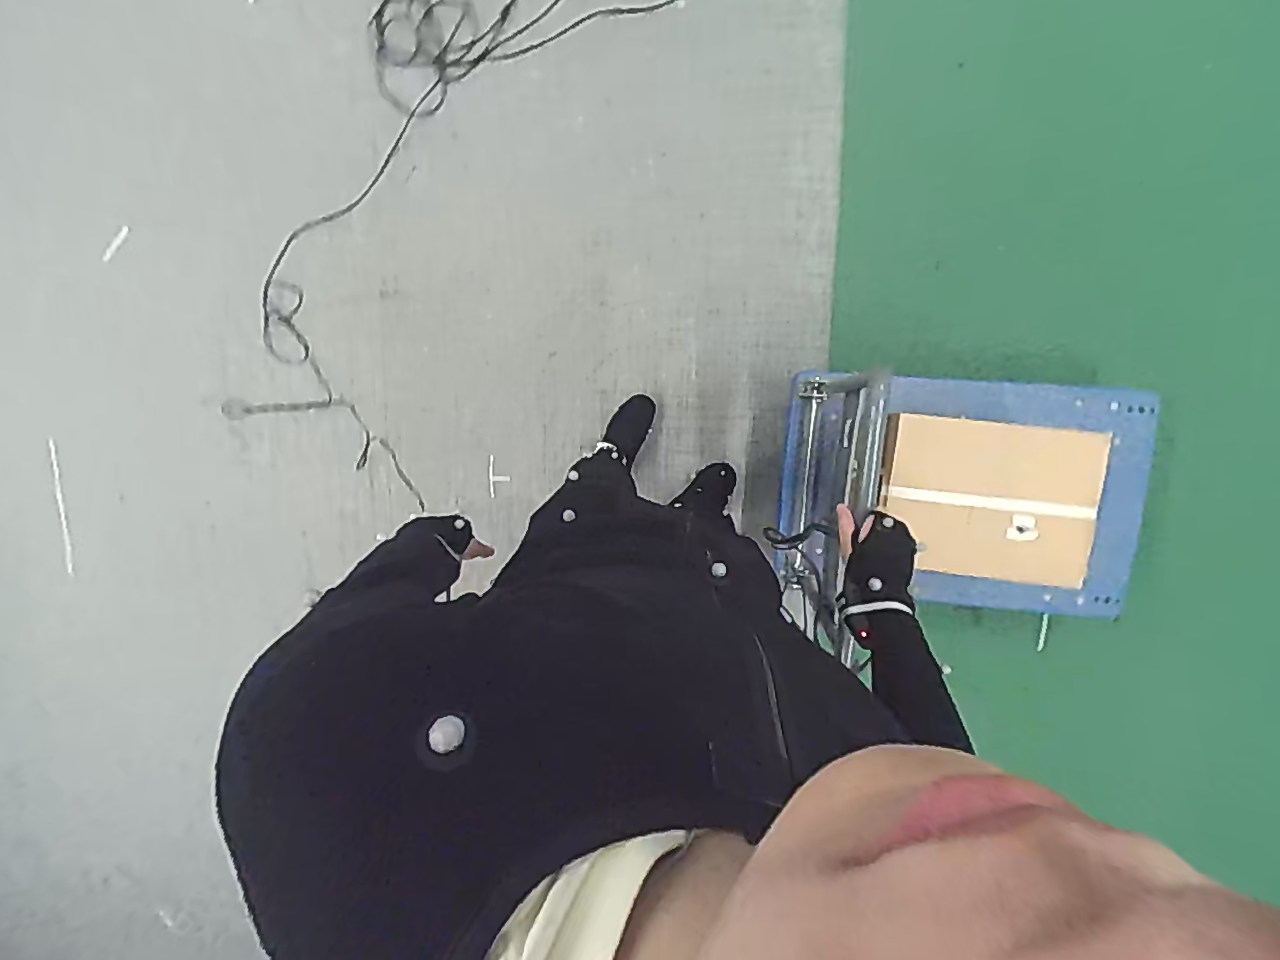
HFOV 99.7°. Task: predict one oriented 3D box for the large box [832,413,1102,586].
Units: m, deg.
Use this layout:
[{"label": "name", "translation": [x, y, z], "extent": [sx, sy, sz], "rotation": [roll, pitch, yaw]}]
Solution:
[{"label": "large box", "translation": [0.693, 0.025, 1.222], "extent": [0.408, 0.320, 0.320], "rotation": [7, 98, 3]}]
